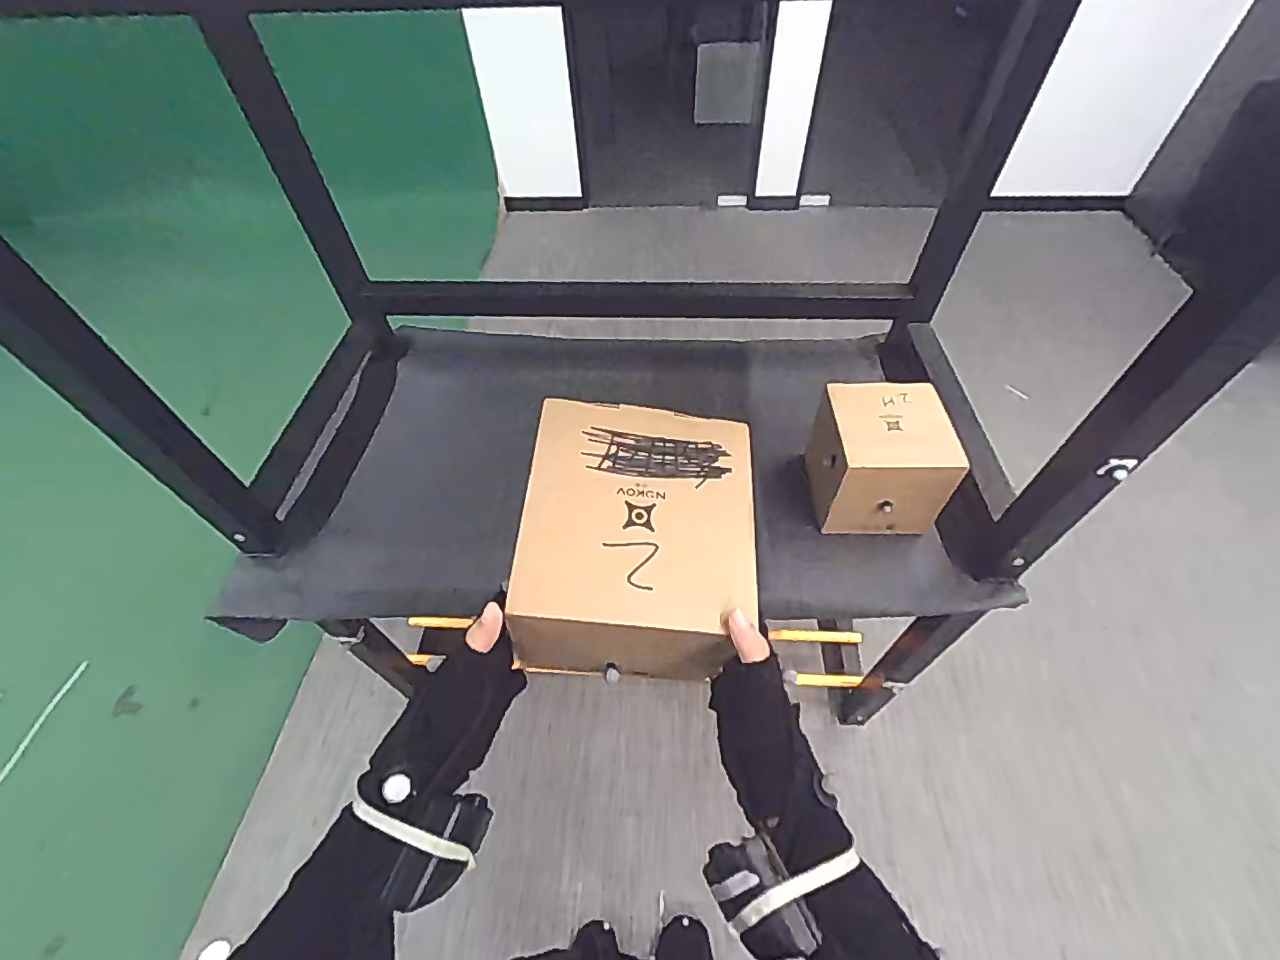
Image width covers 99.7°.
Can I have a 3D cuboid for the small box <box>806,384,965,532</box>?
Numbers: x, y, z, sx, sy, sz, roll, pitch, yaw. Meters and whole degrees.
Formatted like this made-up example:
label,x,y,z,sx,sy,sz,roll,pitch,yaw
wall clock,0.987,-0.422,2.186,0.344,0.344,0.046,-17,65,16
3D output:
label,x,y,z,sx,sy,sz,roll,pitch,yaw
small box,0.371,-0.031,0.856,0.168,0.176,0.179,0,51,2
